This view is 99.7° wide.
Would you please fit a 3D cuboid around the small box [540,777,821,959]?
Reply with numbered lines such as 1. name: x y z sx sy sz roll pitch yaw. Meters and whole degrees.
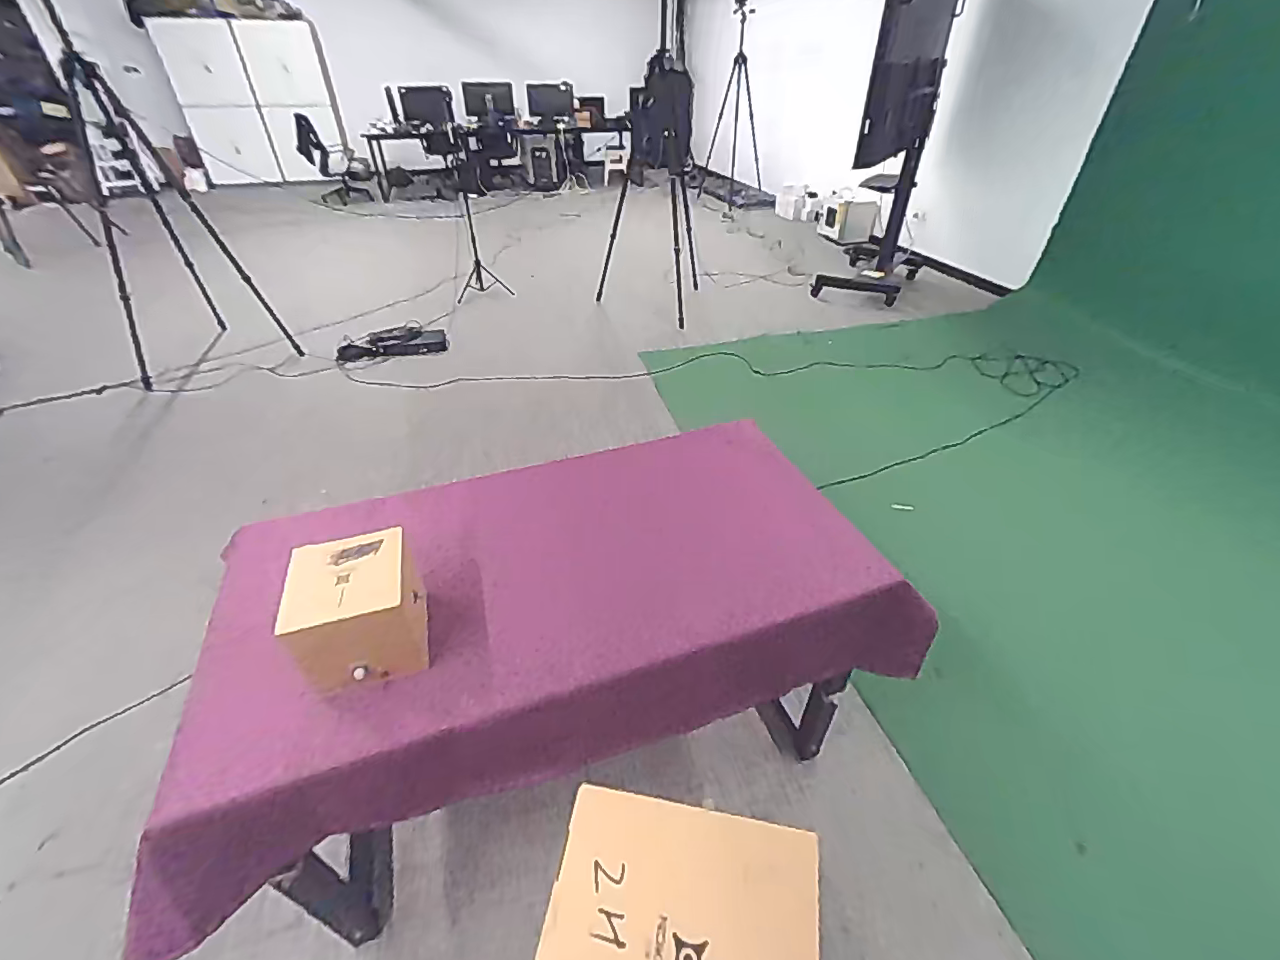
1. small box: 0.033 0.349 0.407 0.179 0.176 0.168 5 49 13

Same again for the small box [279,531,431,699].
1. small box: -0.441 0.214 0.867 0.168 0.176 0.179 -12 40 -14
